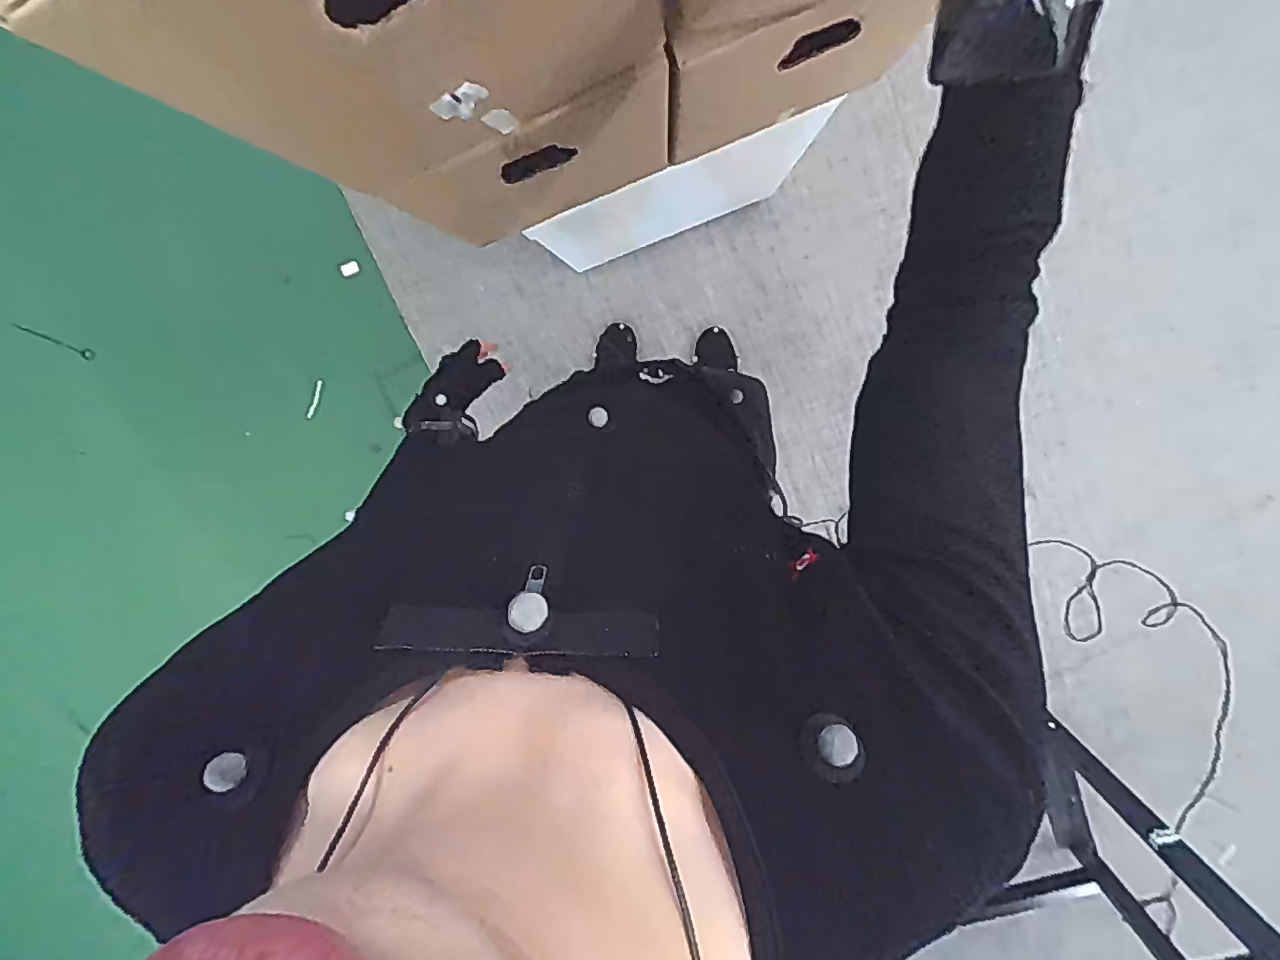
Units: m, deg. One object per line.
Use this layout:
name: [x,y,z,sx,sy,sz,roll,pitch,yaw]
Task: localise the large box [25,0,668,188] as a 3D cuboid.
large box: [-0.201,-0.475,0.319,0.320,0.320,0.408,-21,101,9]
